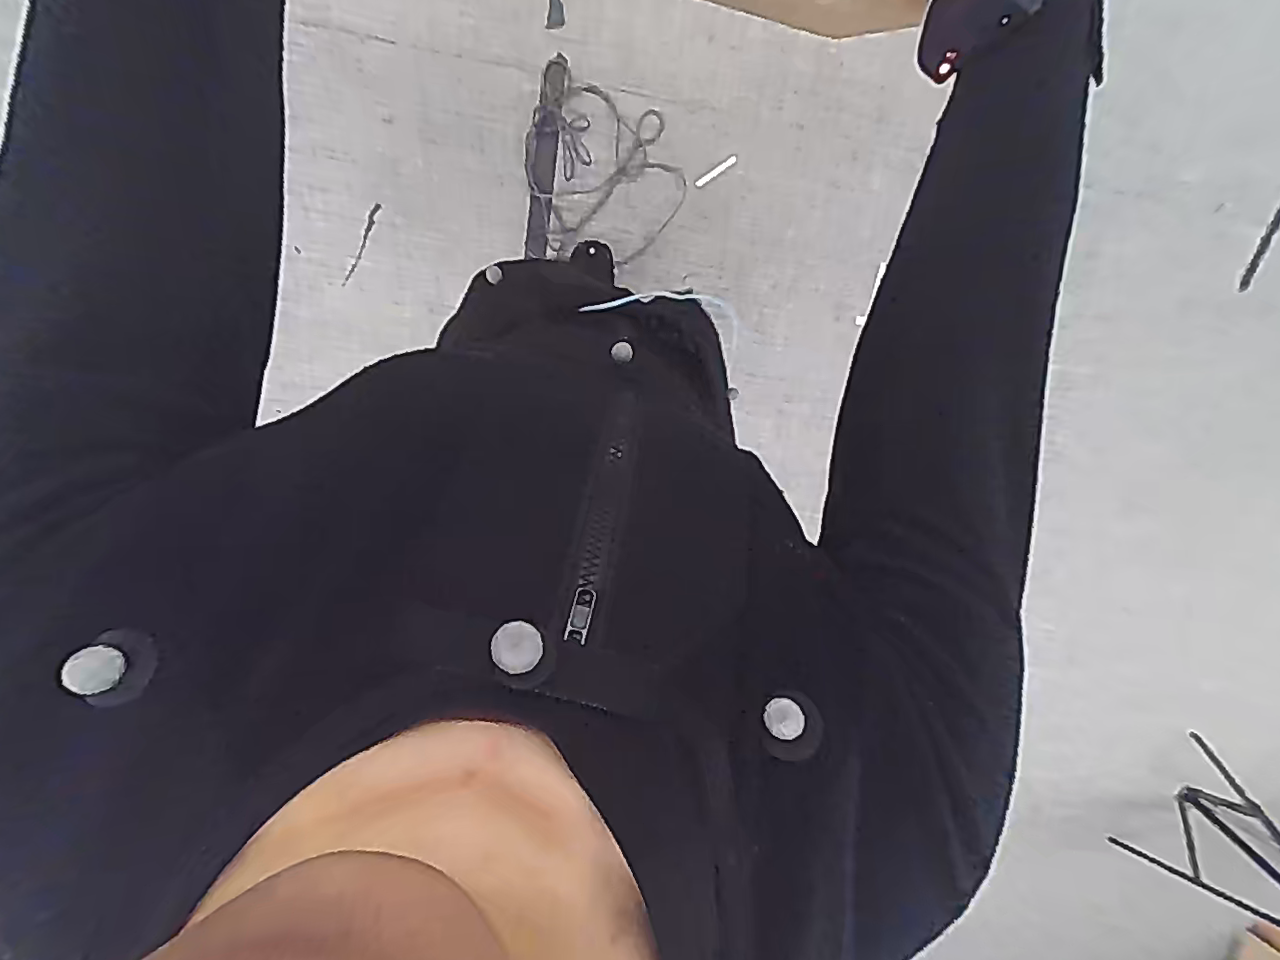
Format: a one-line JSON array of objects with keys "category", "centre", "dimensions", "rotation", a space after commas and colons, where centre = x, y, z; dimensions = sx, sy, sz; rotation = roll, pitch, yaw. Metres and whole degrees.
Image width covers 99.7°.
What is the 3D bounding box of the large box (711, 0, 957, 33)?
[{"category": "large box", "centre": [0.057, -0.566, 0.382], "dimensions": [0.408, 0.320, 0.320], "rotation": [10, 128, -7]}]
